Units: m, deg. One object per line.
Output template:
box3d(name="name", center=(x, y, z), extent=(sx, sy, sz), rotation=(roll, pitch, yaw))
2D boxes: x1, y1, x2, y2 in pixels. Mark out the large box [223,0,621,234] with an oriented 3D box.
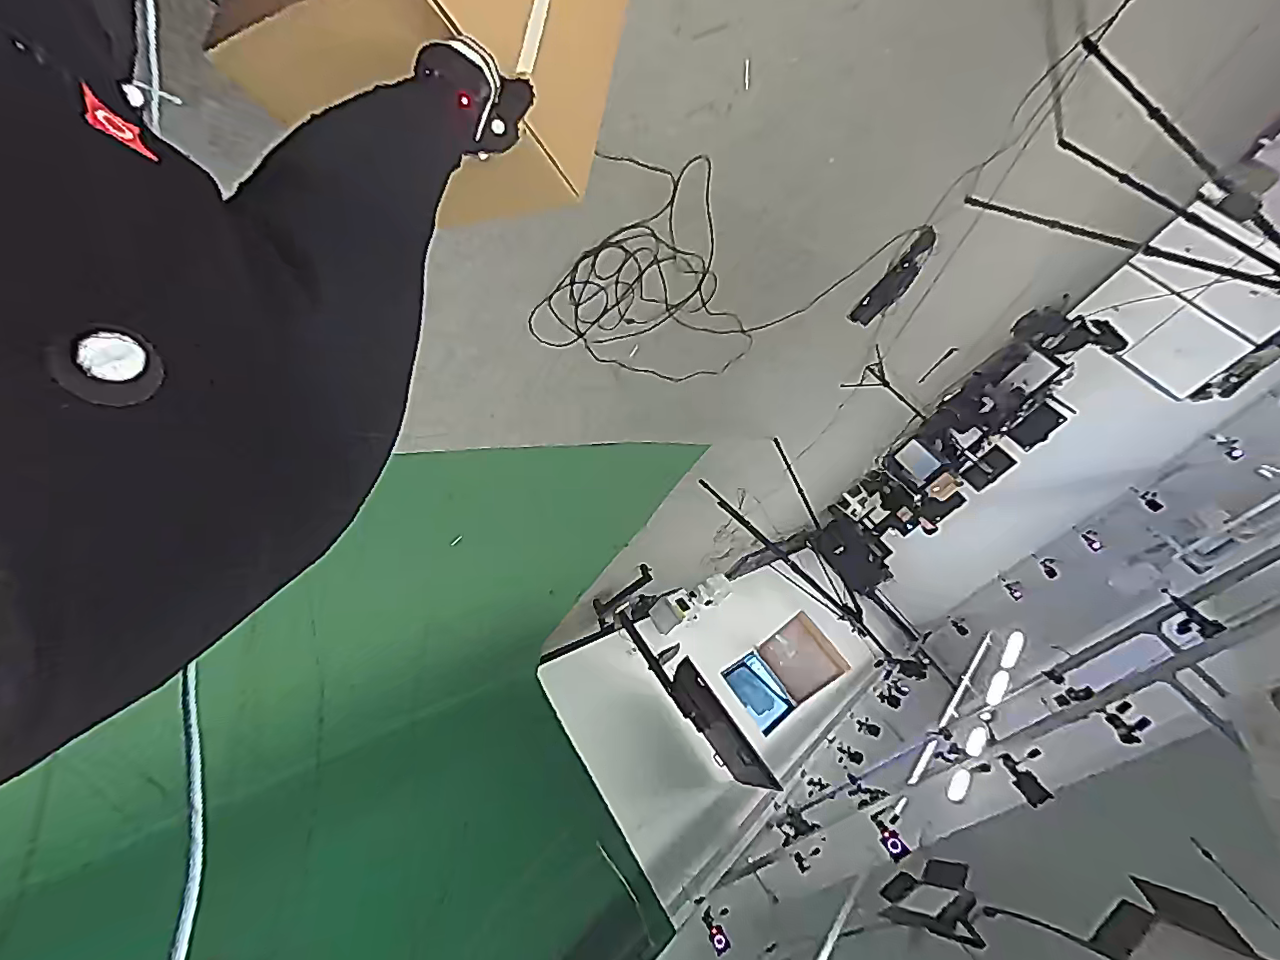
box3d(name="large box", center=(-0.248, -0.607, 0.702), extent=(0.320, 0.320, 0.408), rotation=(29, 67, -61))
